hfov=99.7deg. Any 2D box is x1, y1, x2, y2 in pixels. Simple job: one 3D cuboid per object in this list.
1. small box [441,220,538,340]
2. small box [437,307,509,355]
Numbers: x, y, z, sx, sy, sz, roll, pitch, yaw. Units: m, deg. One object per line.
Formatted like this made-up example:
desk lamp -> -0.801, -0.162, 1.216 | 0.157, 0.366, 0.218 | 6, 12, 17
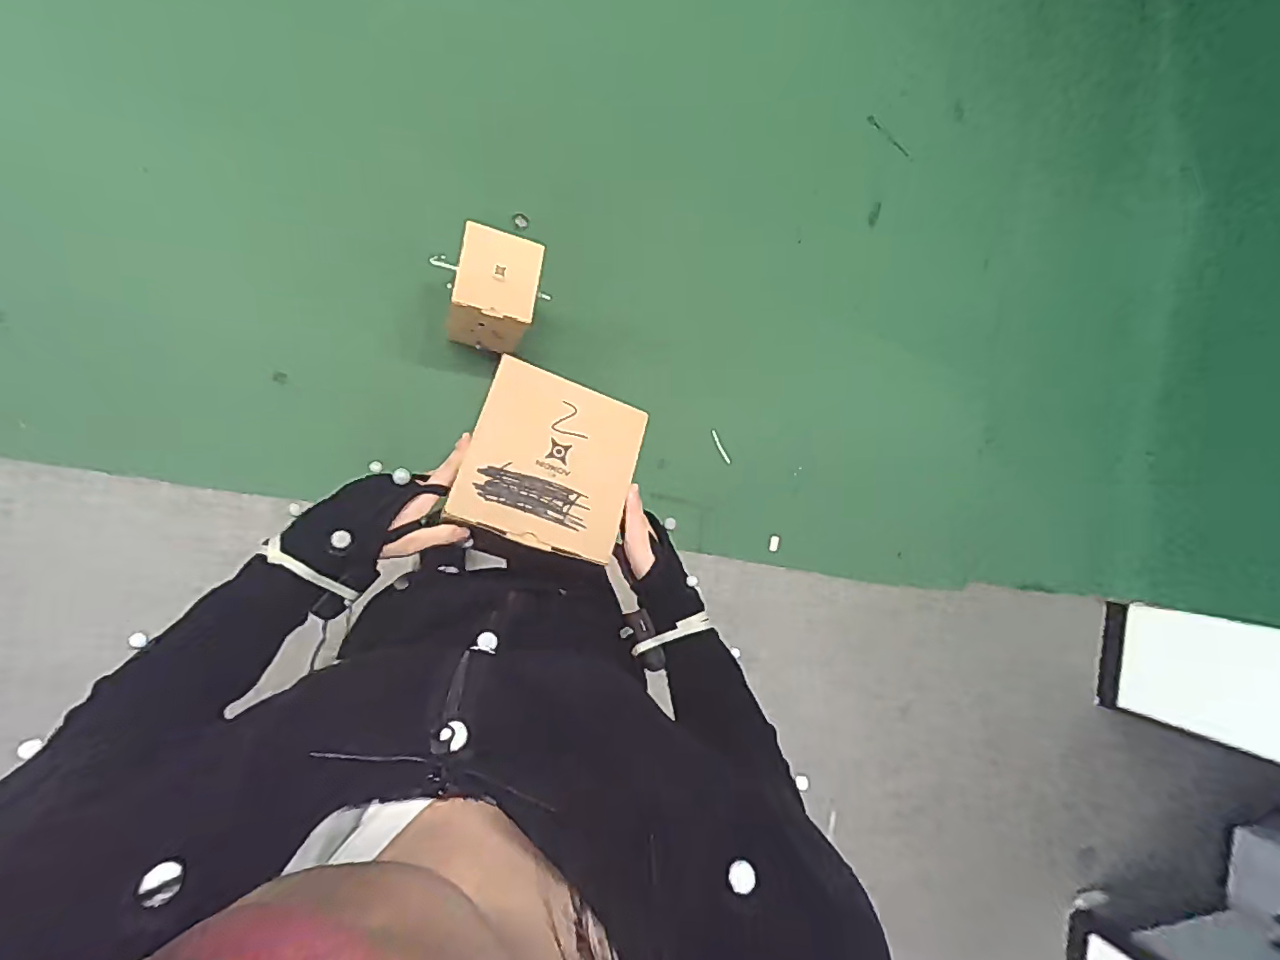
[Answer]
small box -> -0.337, -0.428, 1.189 | 0.168, 0.176, 0.179 | 11, 87, -23
small box -> -0.402, -0.428, 1.338 | 0.168, 0.176, 0.179 | 12, 86, -22
